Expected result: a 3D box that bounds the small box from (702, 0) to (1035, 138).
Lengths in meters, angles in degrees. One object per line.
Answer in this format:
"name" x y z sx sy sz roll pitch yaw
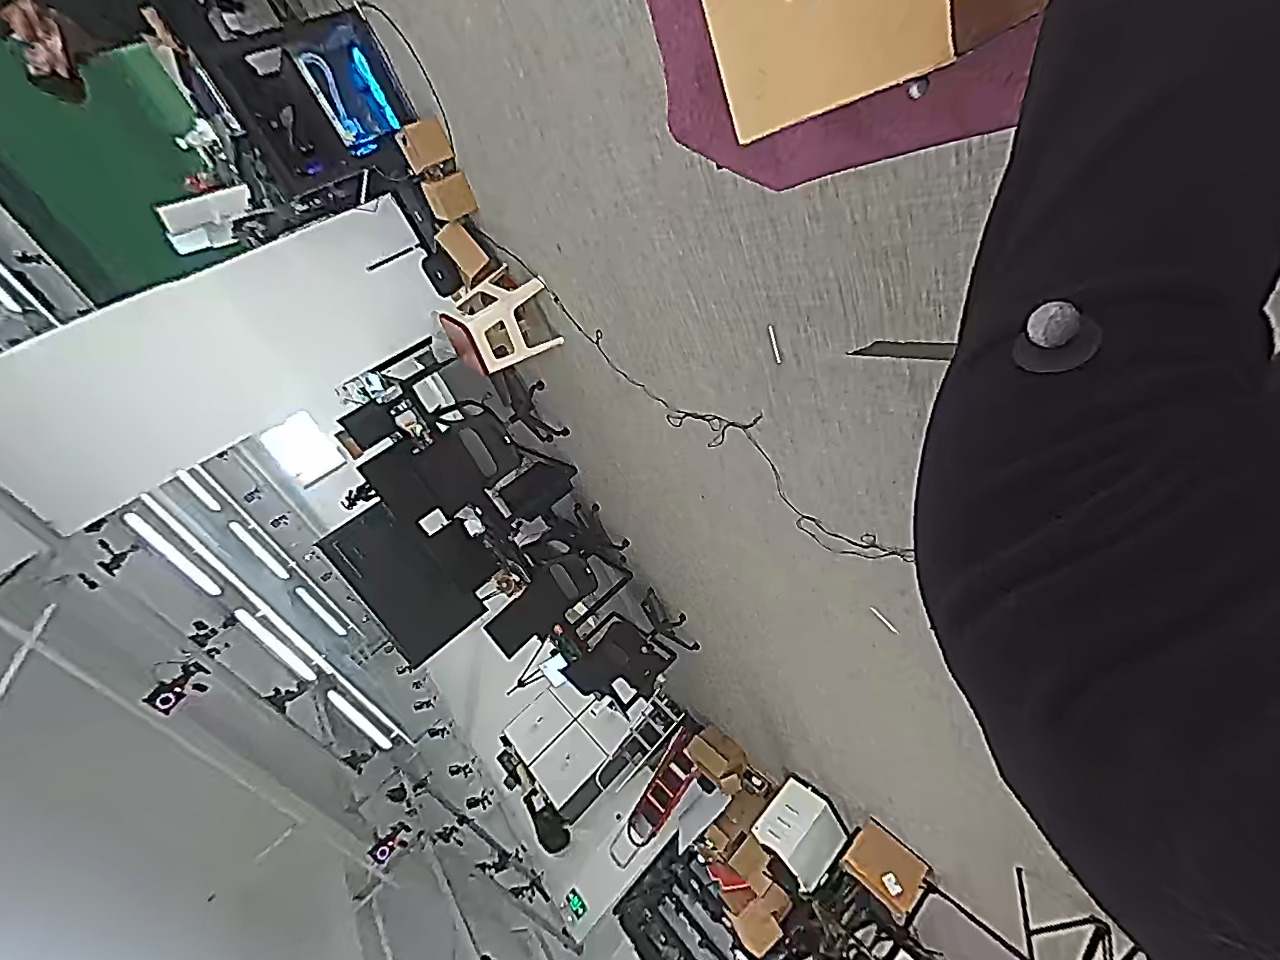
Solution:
"small box" 0.160 -0.378 0.378 0.179 0.176 0.168 16 139 52
